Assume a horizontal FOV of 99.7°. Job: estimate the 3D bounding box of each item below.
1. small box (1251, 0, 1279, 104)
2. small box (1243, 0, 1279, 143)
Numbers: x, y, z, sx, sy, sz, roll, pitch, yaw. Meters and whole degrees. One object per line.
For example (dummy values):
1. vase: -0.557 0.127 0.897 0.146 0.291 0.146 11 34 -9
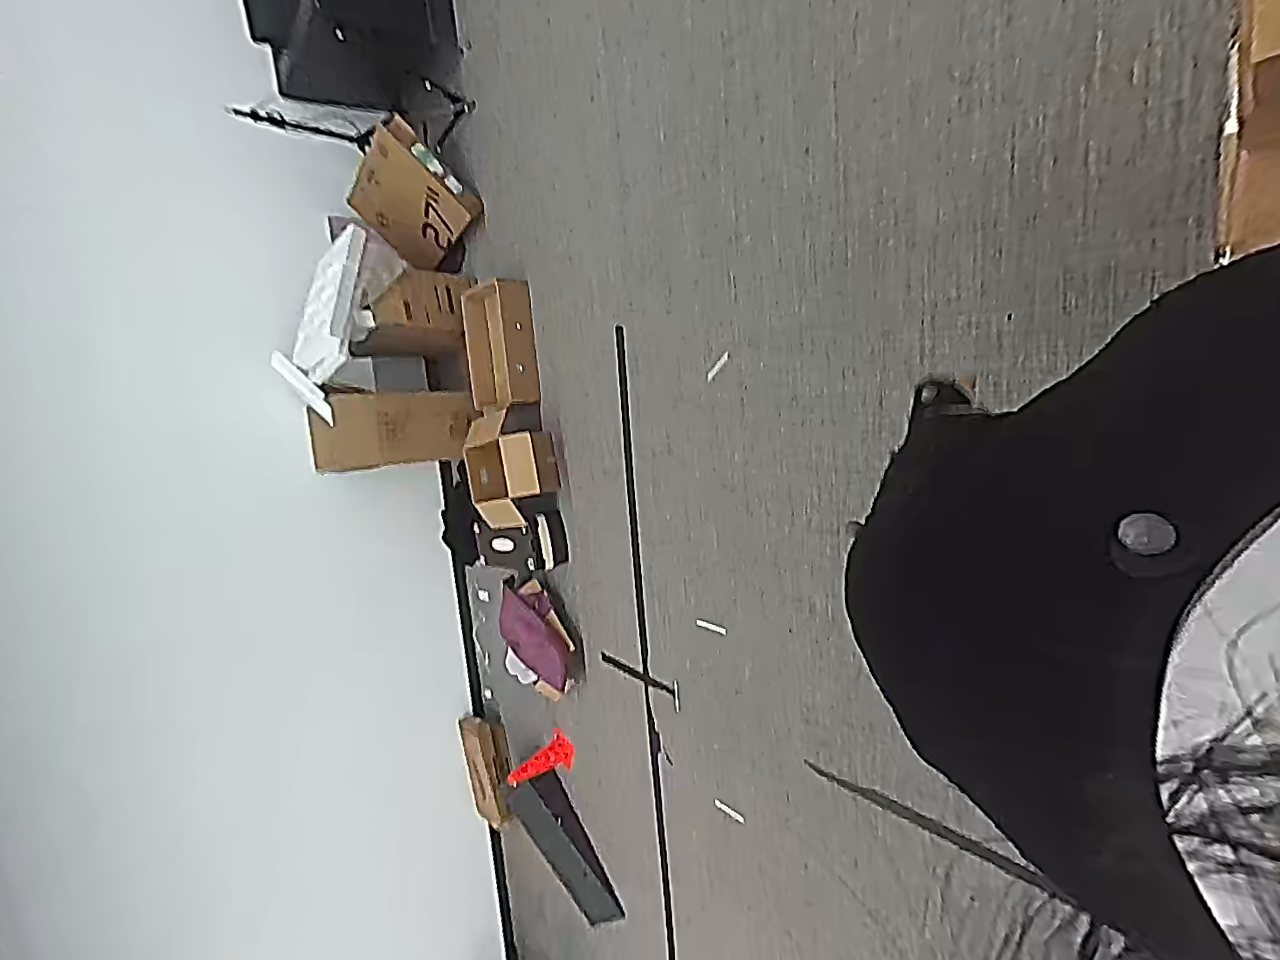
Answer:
1. small box: 0.608 -0.436 0.419 0.168 0.176 0.179 6 107 50
2. small box: 0.722 -0.472 0.533 0.168 0.176 0.179 1 102 51
